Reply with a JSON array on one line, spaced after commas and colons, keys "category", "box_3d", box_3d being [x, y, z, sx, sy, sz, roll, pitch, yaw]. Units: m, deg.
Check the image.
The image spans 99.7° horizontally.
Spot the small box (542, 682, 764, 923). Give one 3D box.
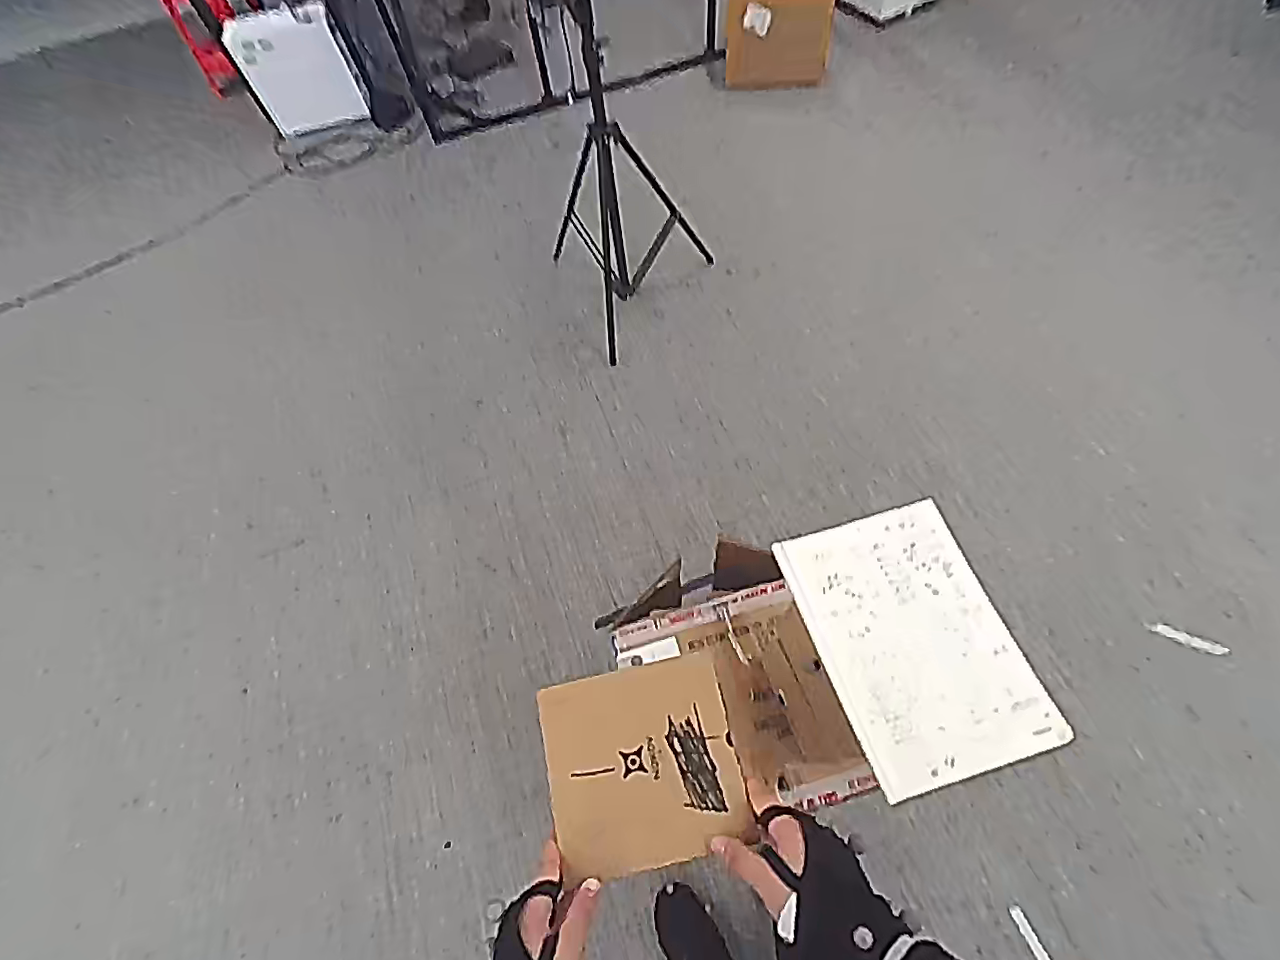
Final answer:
[{"category": "small box", "box_3d": [0.009, 0.312, 0.560, 0.179, 0.176, 0.168, -12, 67, -2]}]

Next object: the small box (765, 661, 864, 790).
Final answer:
[{"category": "small box", "box_3d": [0.302, 0.323, 0.780, 0.179, 0.176, 0.168, -21, 62, -7]}]

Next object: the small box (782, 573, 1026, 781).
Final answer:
[{"category": "small box", "box_3d": [0.288, 0.239, 0.641, 0.168, 0.176, 0.179, -17, 62, -7]}]
